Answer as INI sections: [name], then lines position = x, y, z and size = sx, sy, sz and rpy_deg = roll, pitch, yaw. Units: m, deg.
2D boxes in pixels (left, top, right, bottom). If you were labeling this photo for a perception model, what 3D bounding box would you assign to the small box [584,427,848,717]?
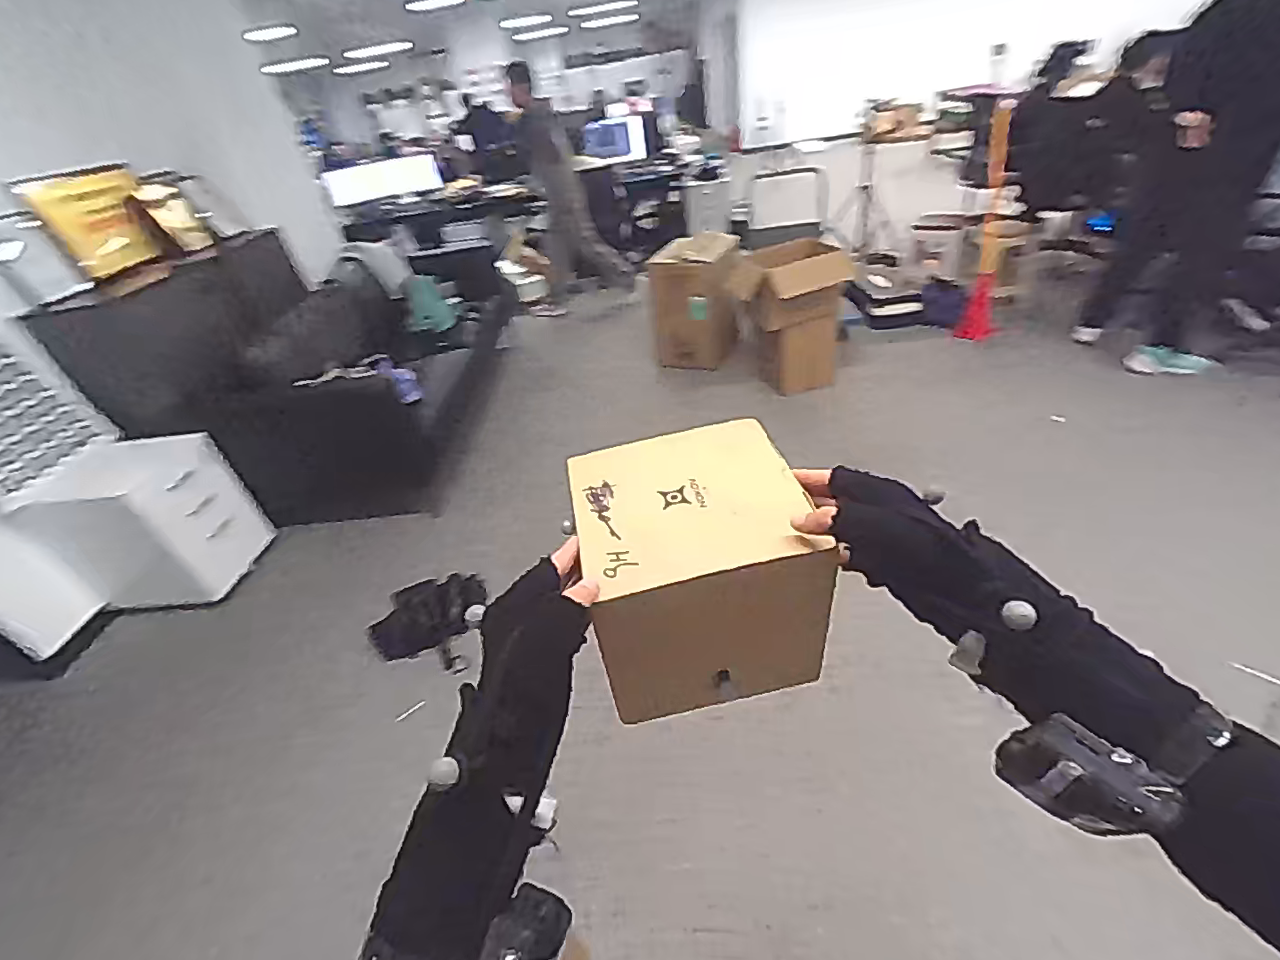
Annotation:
[small box]
position = 0.054, 0.078, 0.473
size = 0.179, 0.176, 0.168
rpy_deg = -11, 37, -3
